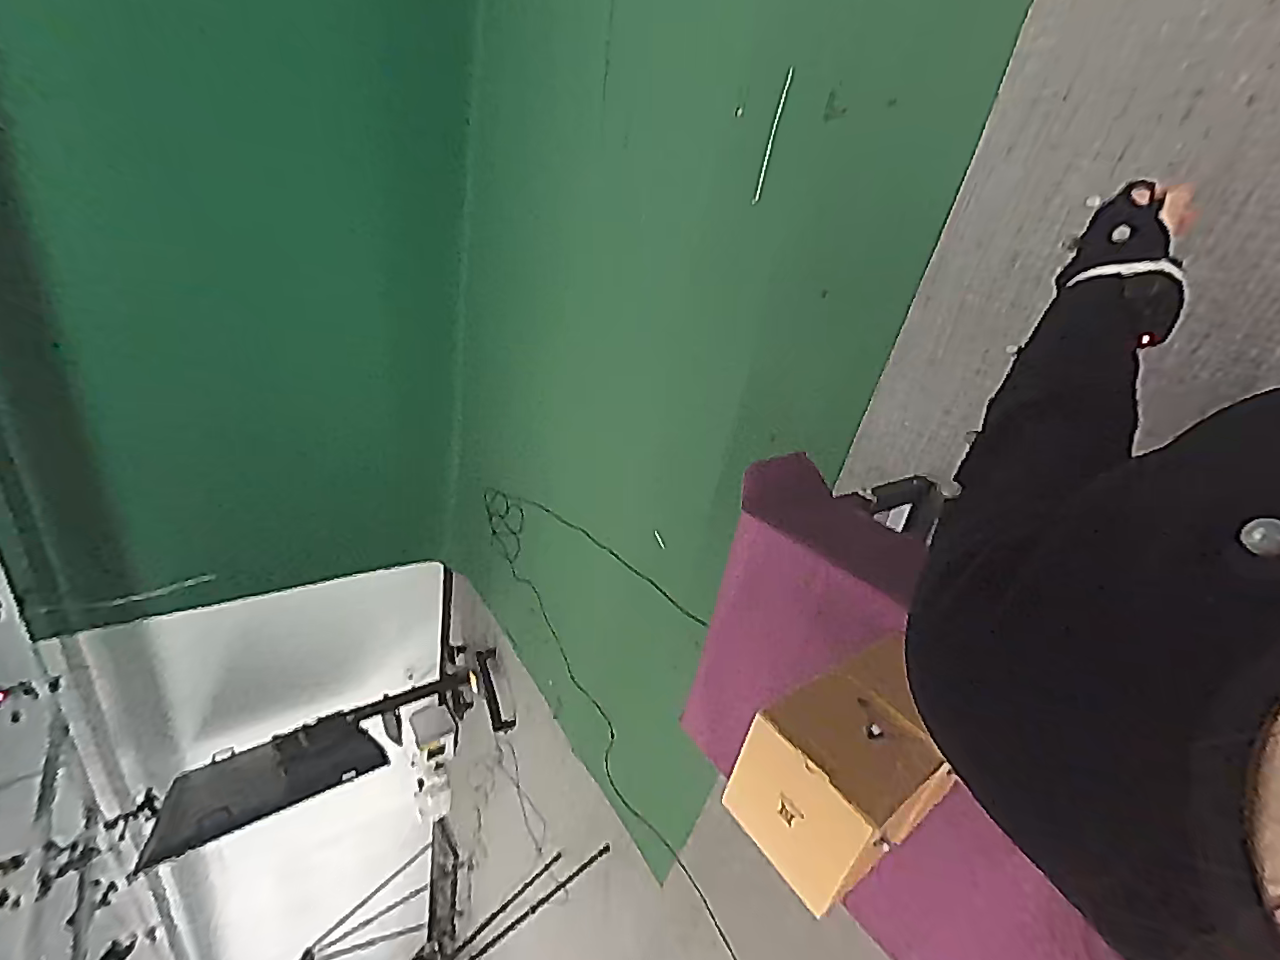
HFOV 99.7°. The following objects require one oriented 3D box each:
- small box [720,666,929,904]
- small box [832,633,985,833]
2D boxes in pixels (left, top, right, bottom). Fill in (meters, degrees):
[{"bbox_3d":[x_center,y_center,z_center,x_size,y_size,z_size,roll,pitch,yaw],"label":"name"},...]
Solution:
[{"bbox_3d":[0.236,0.378,0.698,0.168,0.176,0.179,37,124,42],"label":"small box"},{"bbox_3d":[0.368,0.354,0.792,0.168,0.176,0.179,37,125,42],"label":"small box"}]
